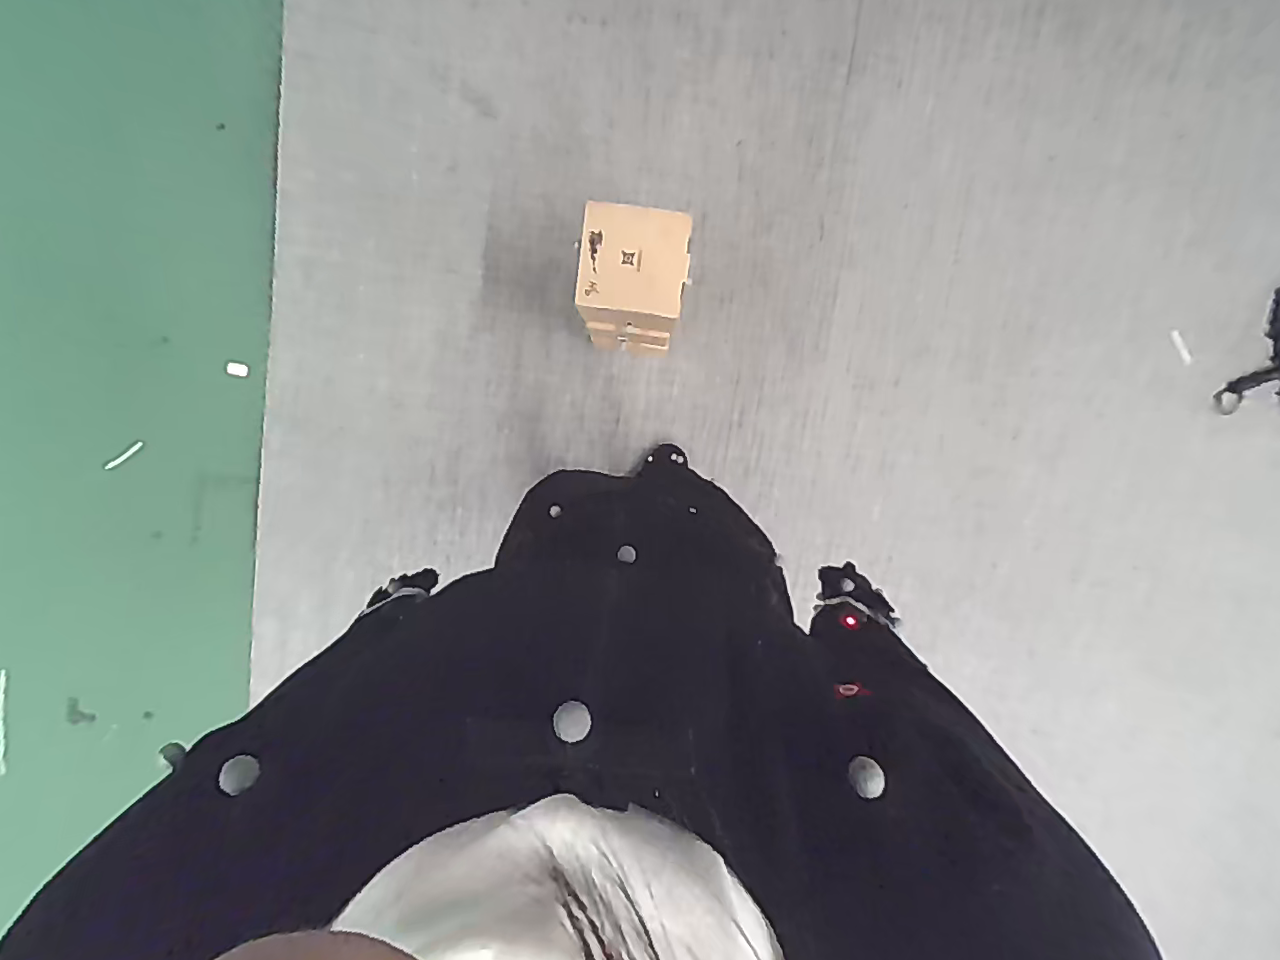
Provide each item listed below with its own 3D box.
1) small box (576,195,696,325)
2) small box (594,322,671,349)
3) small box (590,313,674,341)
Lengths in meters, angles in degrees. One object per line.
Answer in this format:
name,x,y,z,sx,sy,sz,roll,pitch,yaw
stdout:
small box,-0.006,-0.375,0.952,0.179,0.176,0.168,9,98,0
small box,-0.004,-0.409,1.276,0.179,0.176,0.168,10,99,-2
small box,-0.004,-0.393,1.115,0.168,0.176,0.179,8,100,1
